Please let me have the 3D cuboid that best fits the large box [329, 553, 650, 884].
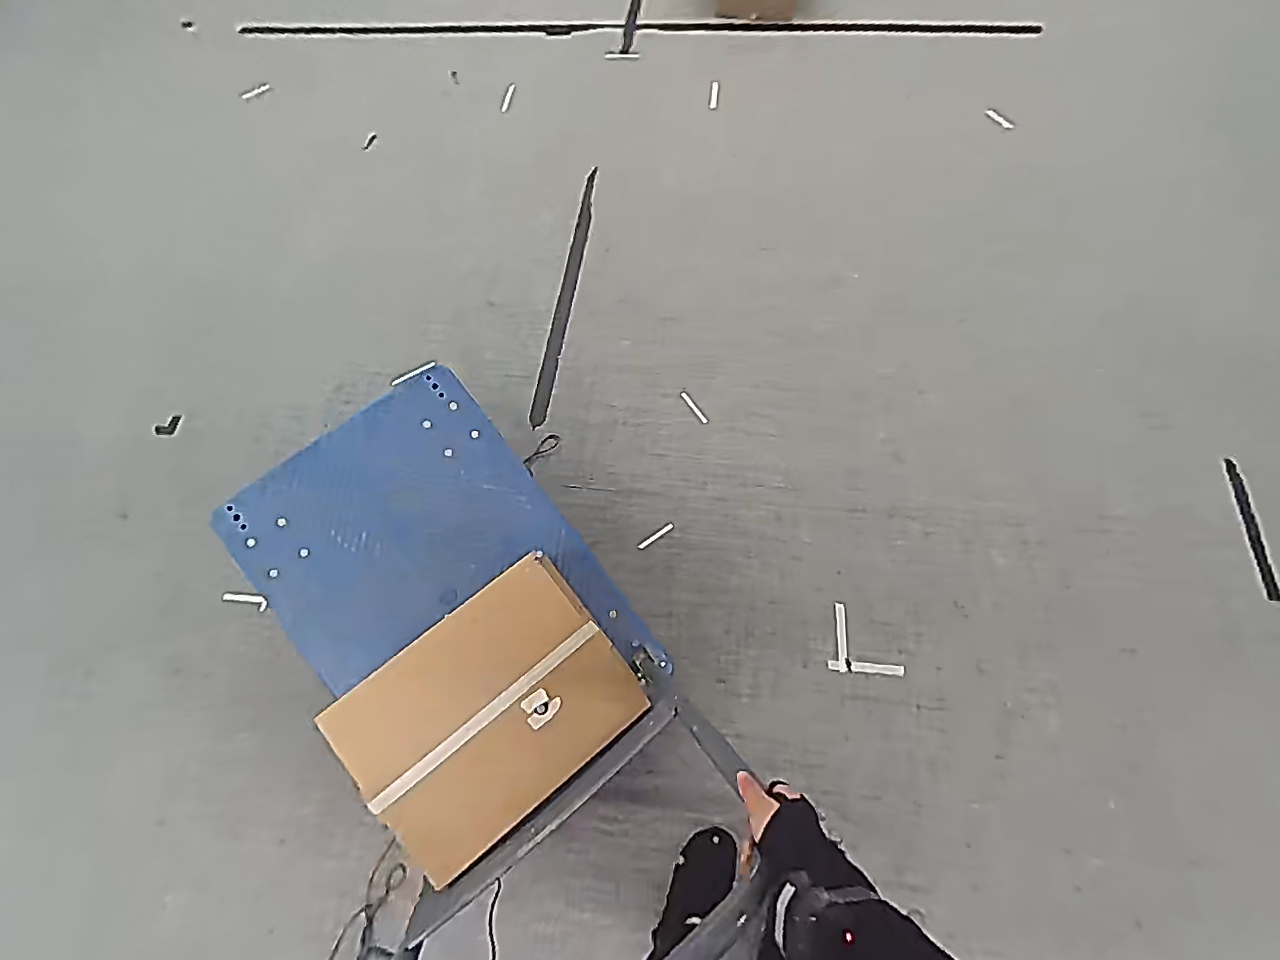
[{"bbox_3d":[-0.245,0.386,0.987,0.408,0.320,0.320,-38,87,-12],"label":"large box"}]
